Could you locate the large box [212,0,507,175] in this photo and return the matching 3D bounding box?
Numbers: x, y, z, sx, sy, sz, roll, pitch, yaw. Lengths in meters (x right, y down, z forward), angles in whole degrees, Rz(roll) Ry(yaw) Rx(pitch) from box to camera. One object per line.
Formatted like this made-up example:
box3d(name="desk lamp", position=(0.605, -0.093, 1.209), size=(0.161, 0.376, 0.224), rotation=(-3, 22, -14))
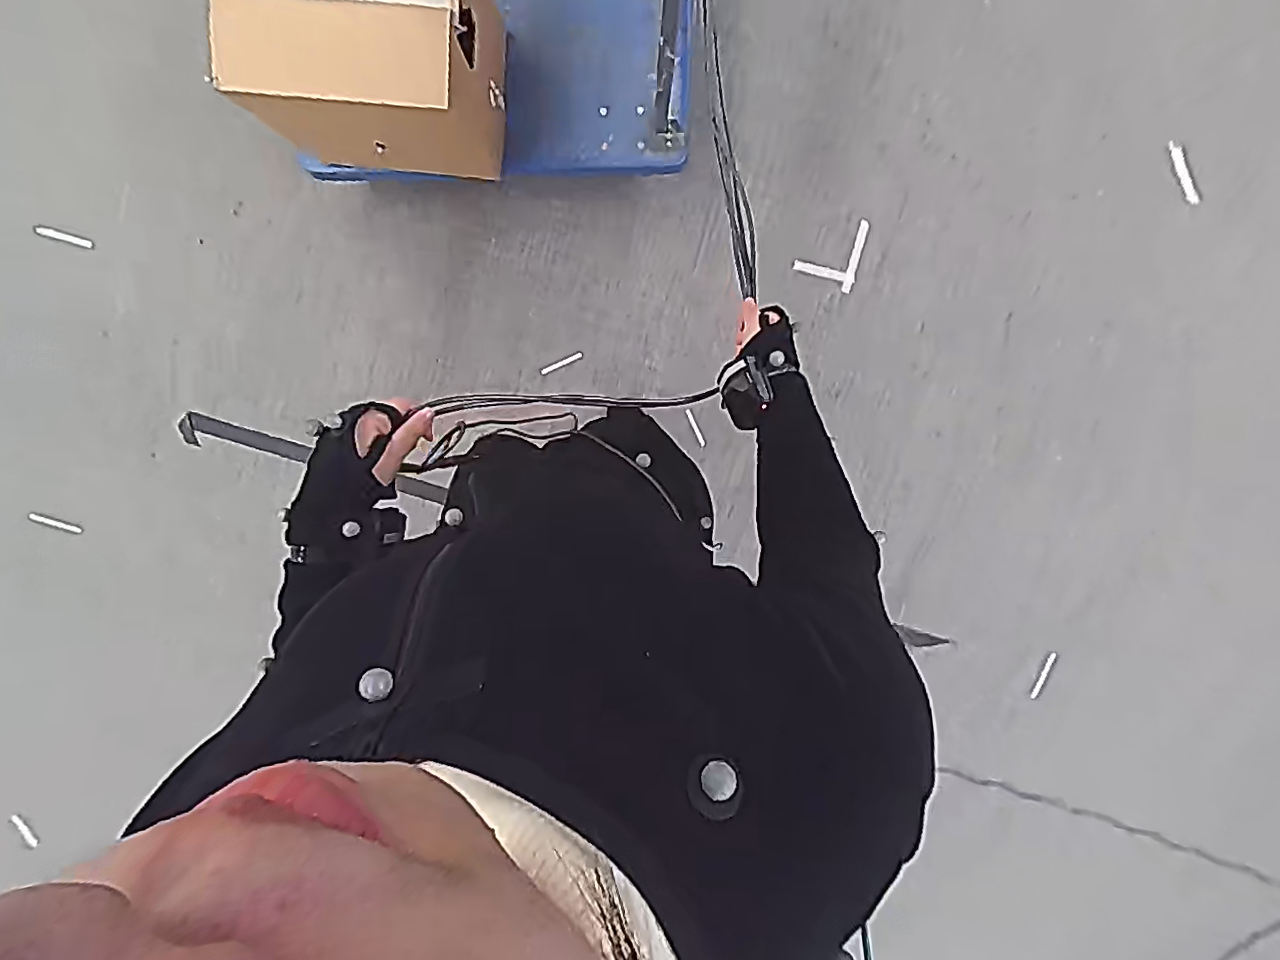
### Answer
box3d(name="large box", position=(-0.491, -0.805, 1.023), size=(0.408, 0.320, 0.320), rotation=(5, 99, 1))
